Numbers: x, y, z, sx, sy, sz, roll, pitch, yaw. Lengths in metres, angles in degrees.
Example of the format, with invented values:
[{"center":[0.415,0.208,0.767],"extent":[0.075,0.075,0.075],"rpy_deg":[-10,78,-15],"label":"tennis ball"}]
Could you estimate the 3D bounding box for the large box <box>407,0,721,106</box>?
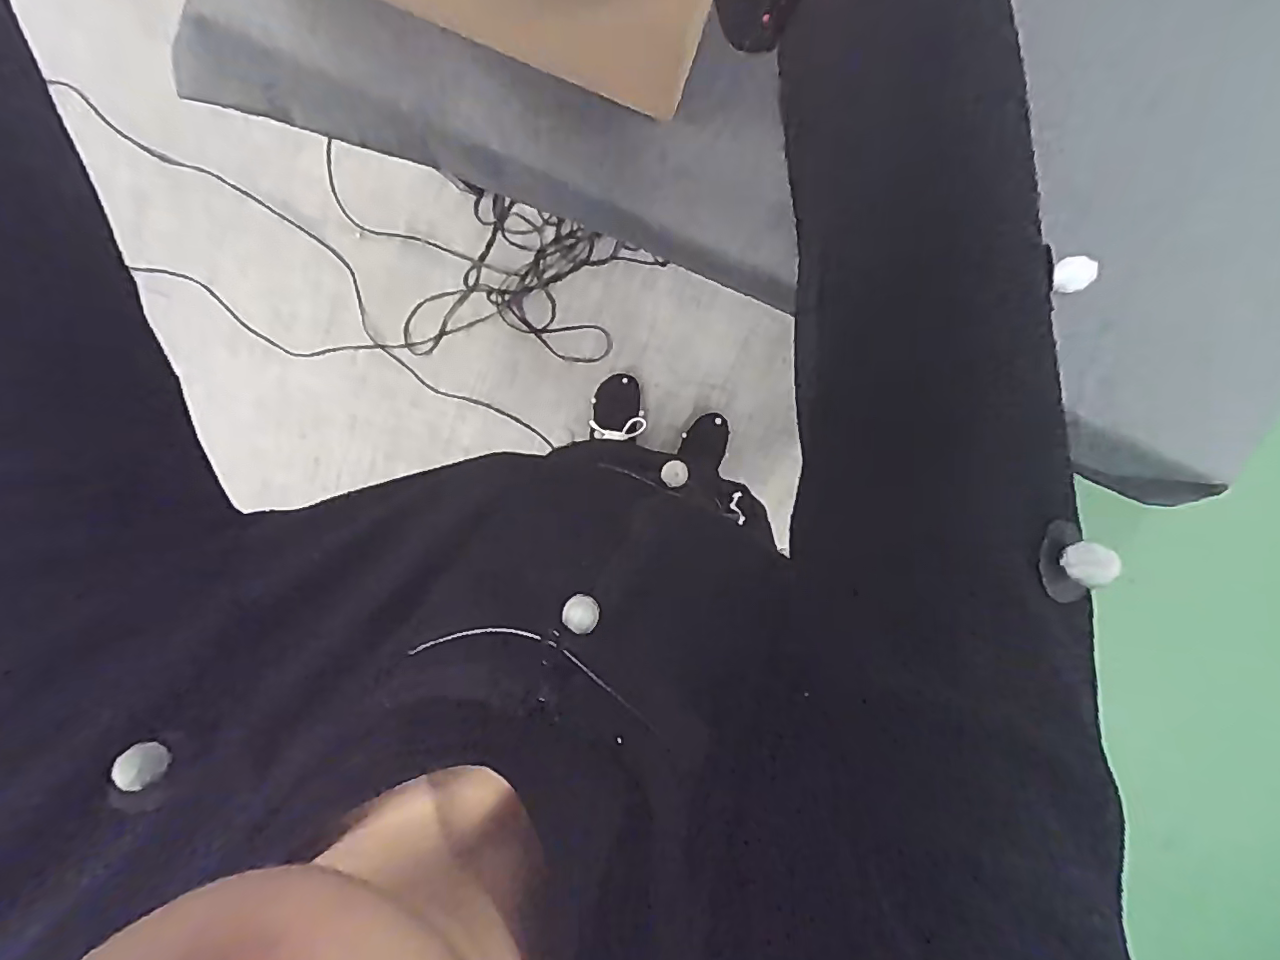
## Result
[{"center":[-0.093,-0.512,0.318],"extent":[0.408,0.320,0.320],"rpy_deg":[18,105,-8],"label":"large box"}]
